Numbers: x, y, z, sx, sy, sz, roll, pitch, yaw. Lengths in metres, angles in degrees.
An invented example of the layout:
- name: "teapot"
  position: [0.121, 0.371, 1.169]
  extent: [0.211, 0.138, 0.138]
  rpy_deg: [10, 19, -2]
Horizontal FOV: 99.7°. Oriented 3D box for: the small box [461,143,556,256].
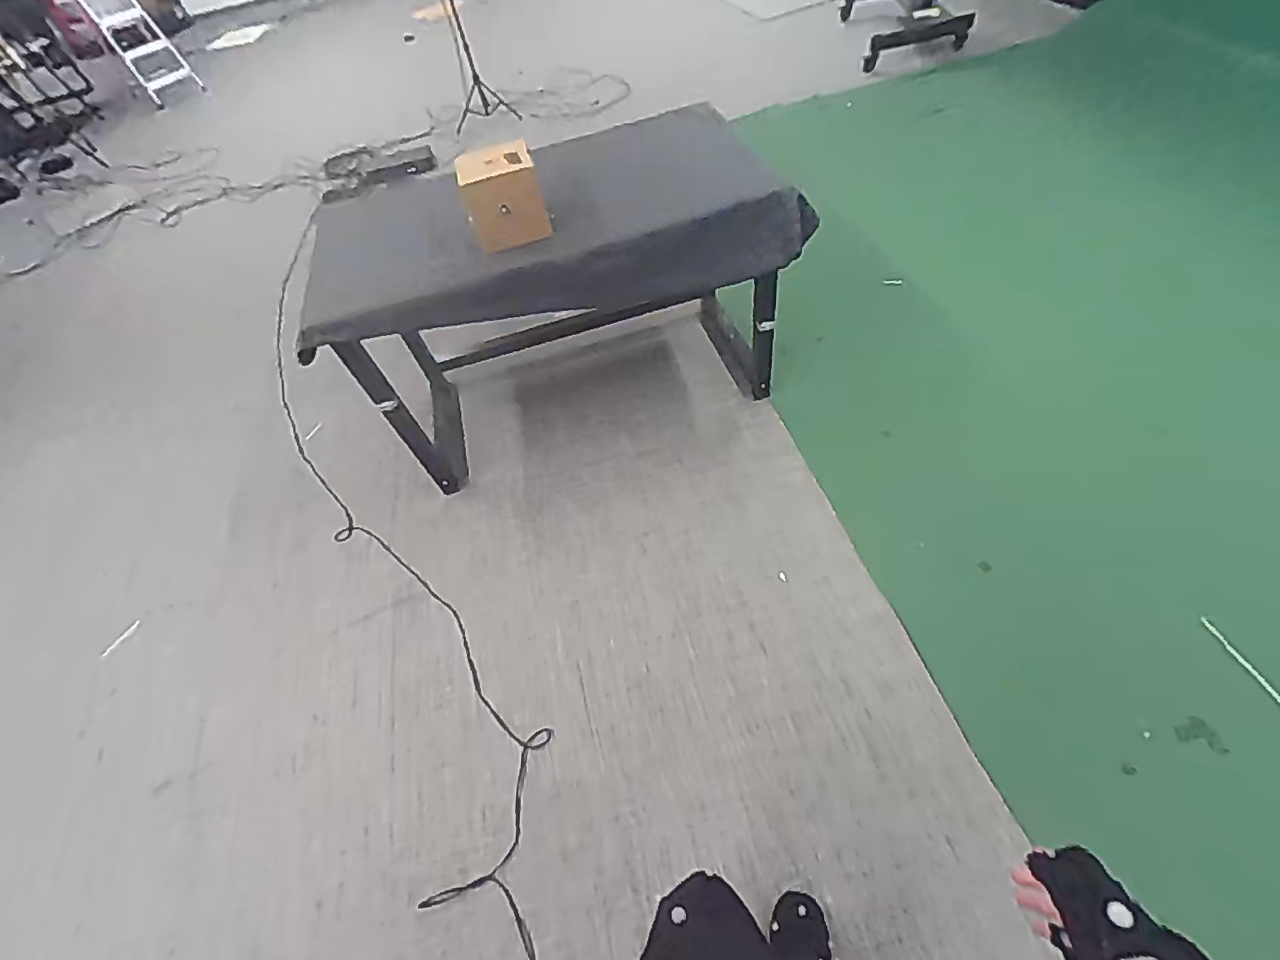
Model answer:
- name: "small box"
  position: [-0.311, -0.678, 1.311]
  extent: [0.179, 0.176, 0.168]
  rpy_deg: [-19, 54, -5]
